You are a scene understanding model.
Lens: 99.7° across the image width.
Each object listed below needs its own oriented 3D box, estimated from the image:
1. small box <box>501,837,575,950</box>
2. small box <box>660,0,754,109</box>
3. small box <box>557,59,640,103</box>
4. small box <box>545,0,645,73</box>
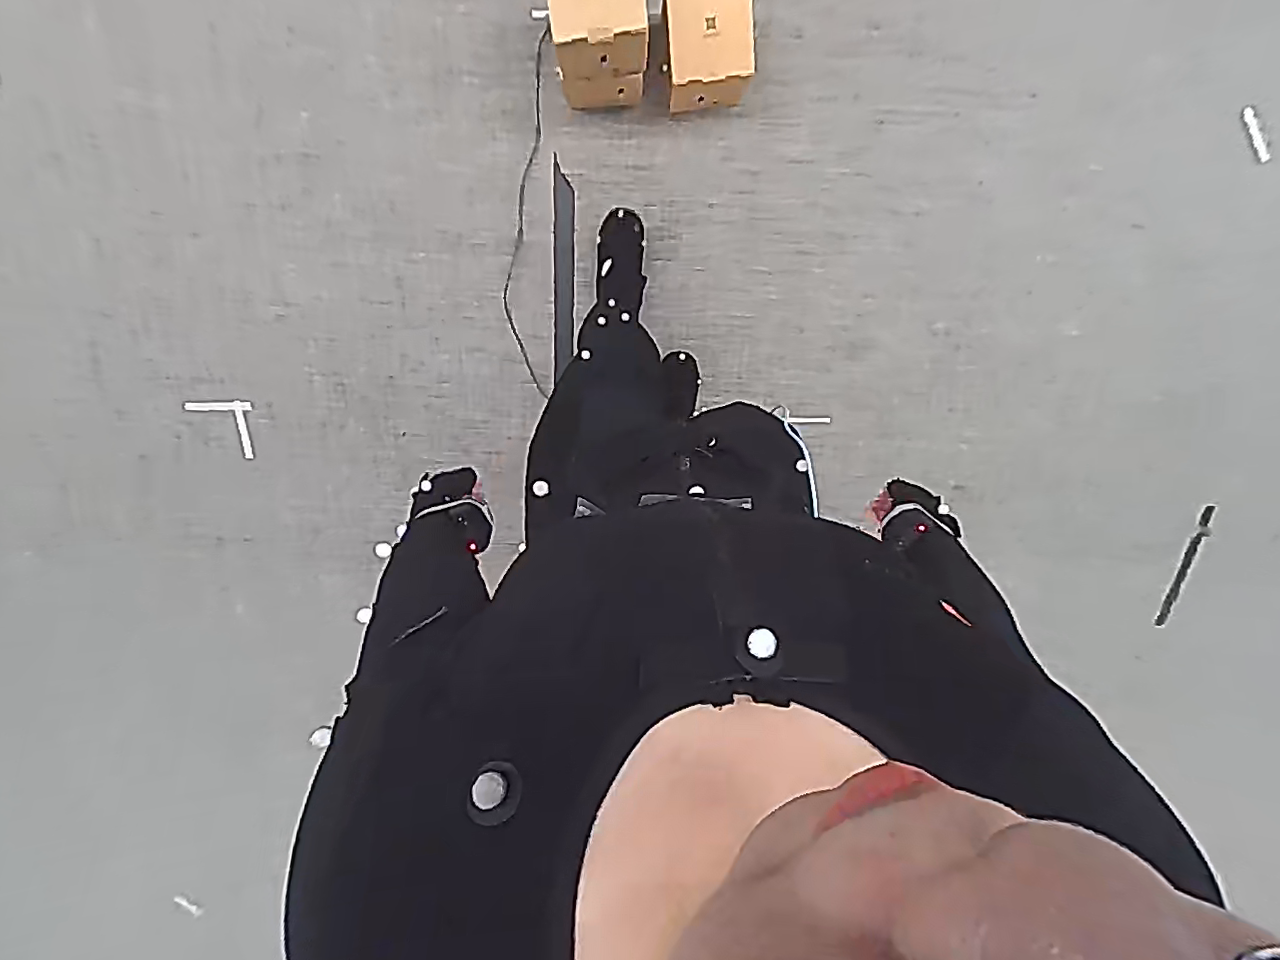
[{"bbox_3d":[-0.265,1.085,1.423,0.168,0.176,0.179,4,108,-2],"label":"small box"},{"bbox_3d":[0.134,-0.902,1.119,0.168,0.176,0.179,-6,109,1],"label":"small box"},{"bbox_3d":[-0.083,-0.902,1.116,0.168,0.176,0.179,-3,108,0],"label":"small box"},{"bbox_3d":[-0.080,-0.854,0.959,0.168,0.176,0.179,-7,110,1],"label":"small box"}]
